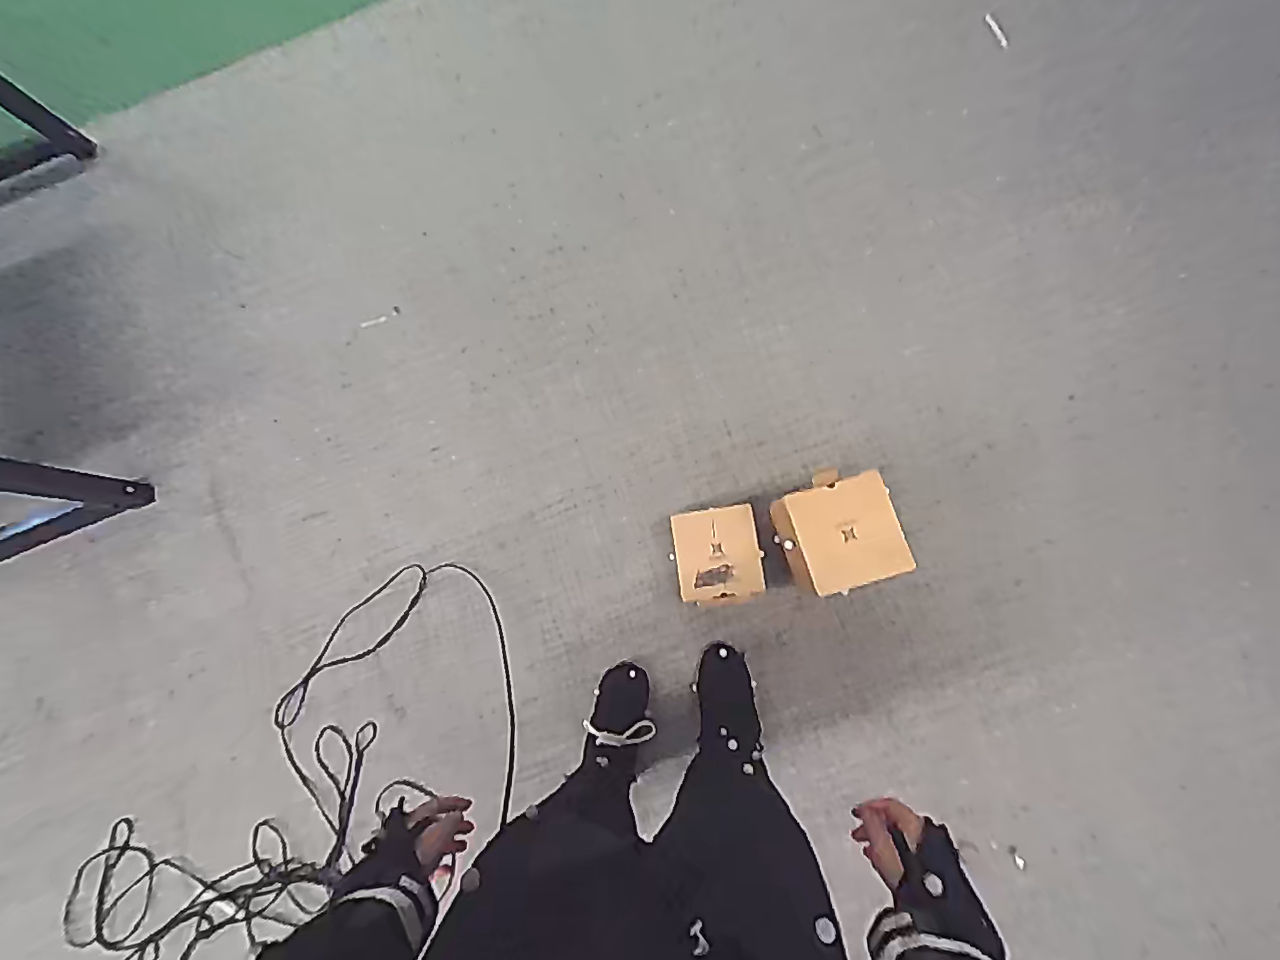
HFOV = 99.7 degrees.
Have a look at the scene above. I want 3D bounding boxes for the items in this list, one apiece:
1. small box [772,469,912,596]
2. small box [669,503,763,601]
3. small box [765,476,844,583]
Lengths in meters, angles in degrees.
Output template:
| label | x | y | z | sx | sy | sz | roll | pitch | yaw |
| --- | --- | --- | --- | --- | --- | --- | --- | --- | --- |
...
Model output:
| label | x | y | z | sx | sy | sz | roll | pitch | yaw |
| --- | --- | --- | --- | --- | --- | --- | --- | --- | --- |
| small box | 0.348 | 0.097 | 0.966 | 0.168 | 0.176 | 0.179 | -17 | 78 | 3 |
| small box | 0.158 | 0.155 | 1.142 | 0.168 | 0.176 | 0.179 | -8 | 78 | 4 |
| small box | 0.371 | 0.110 | 1.128 | 0.168 | 0.176 | 0.179 | -17 | 78 | 2 |
